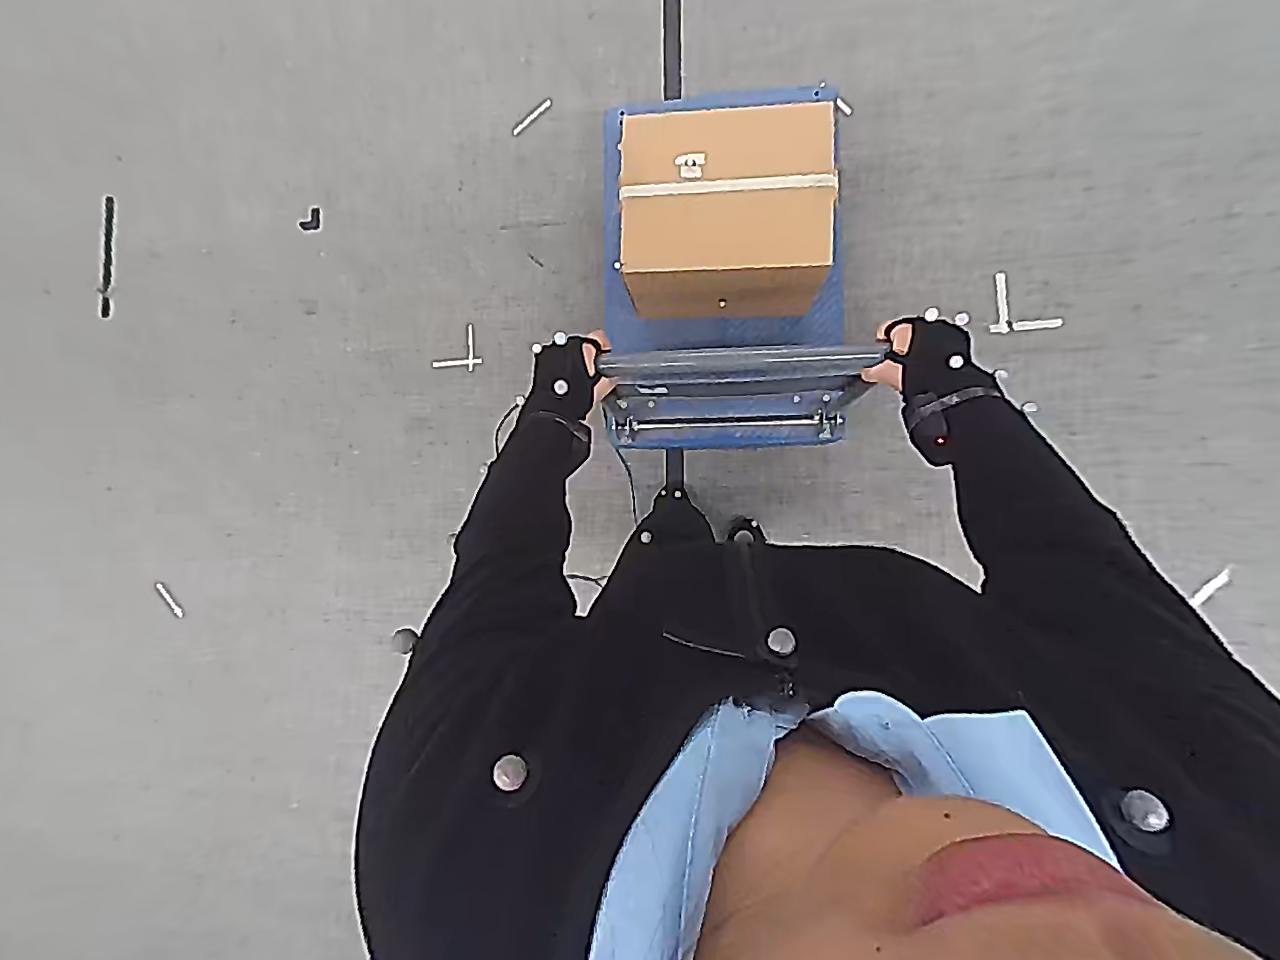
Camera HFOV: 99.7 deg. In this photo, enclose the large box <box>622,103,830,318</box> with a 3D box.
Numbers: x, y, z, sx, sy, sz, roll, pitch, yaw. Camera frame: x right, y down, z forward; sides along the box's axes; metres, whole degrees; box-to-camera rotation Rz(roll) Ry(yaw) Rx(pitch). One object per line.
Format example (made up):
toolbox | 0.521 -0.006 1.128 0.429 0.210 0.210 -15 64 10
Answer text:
large box | 0.185 -0.562 1.197 0.408 0.320 0.320 1 88 8
